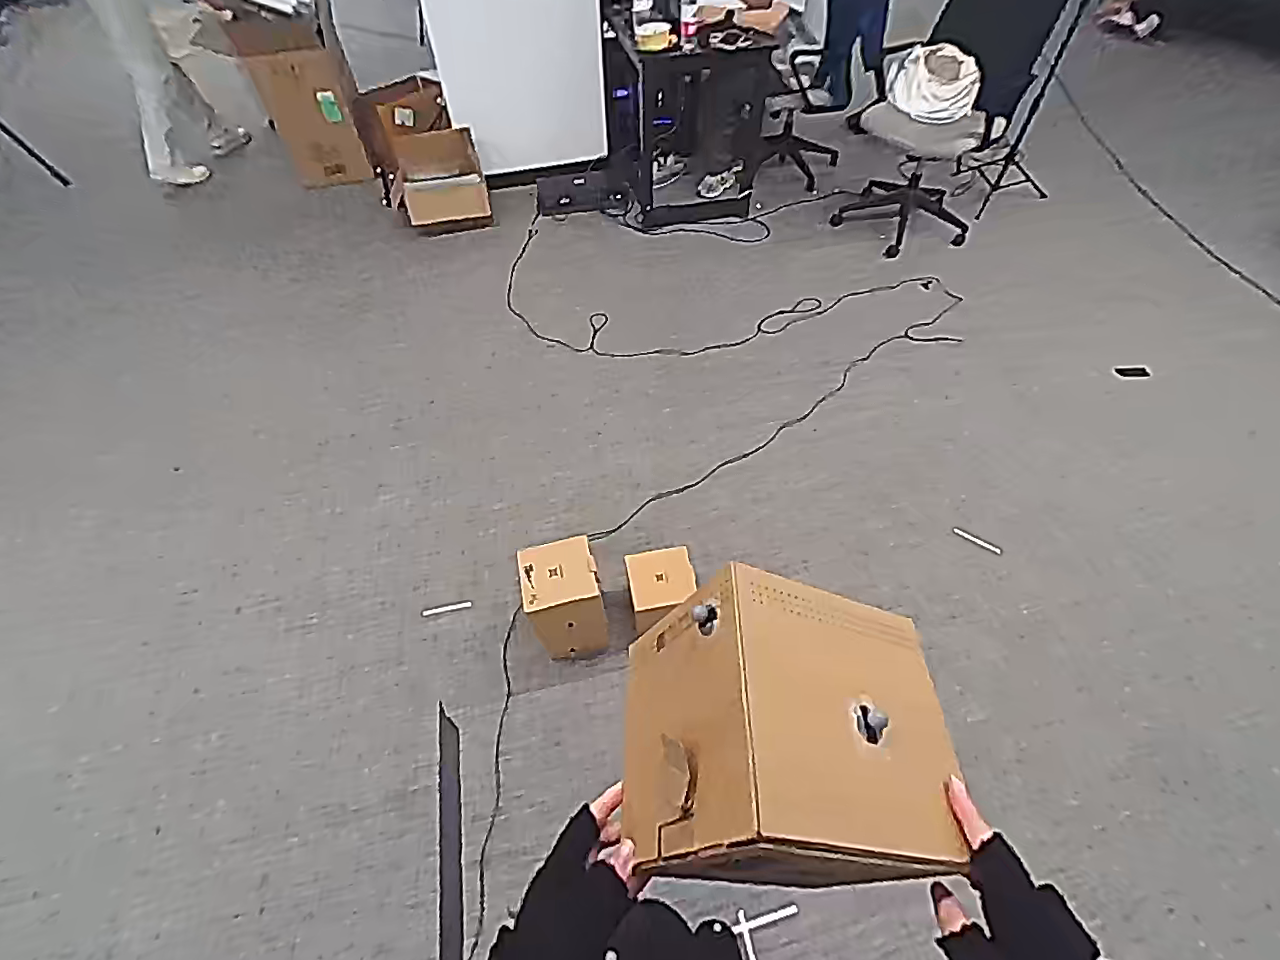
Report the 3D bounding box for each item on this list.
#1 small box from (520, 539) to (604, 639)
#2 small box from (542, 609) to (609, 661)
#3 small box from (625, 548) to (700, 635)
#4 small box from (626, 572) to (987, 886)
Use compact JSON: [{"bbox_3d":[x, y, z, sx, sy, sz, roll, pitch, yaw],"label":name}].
[{"bbox_3d":[-0.187,0.271,1.328,0.179,0.176,0.168,-12,53,-6],"label":"small box"},{"bbox_3d":[-0.182,0.365,1.462,0.168,0.176,0.179,-12,54,-6],"label":"small box"},{"bbox_3d":[0.061,0.313,1.495,0.179,0.176,0.168,-9,53,-6],"label":"small box"},{"bbox_3d":[0.104,0.190,0.410,0.179,0.168,0.176,19,46,-19],"label":"small box"}]
